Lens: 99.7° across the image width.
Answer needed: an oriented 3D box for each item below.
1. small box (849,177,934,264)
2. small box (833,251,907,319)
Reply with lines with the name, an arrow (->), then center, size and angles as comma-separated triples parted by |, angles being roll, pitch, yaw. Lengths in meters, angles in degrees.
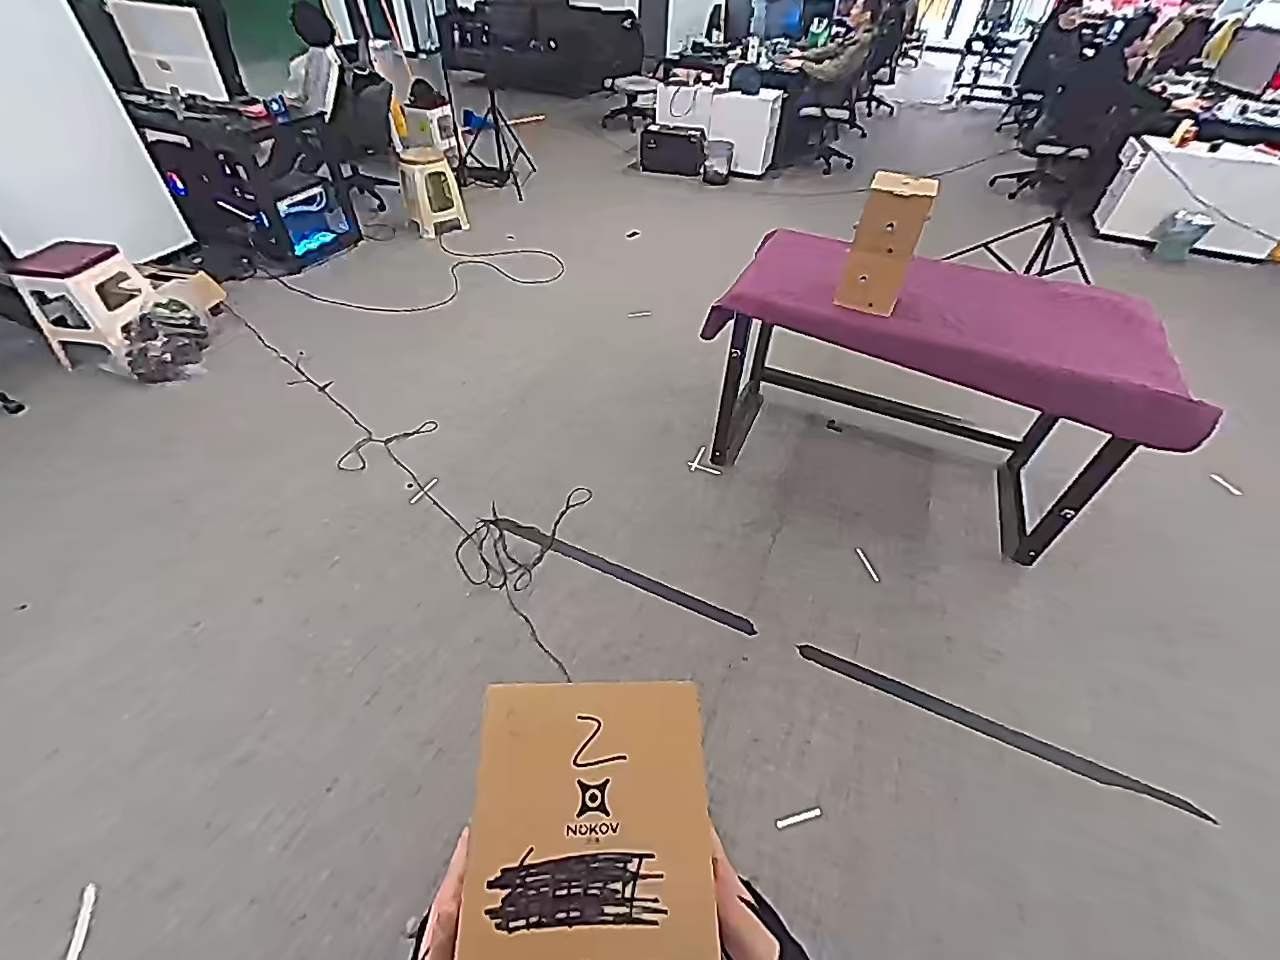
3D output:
small box -> 0.704, -0.728, 1.522 | 0.168, 0.176, 0.179 | 19, 47, 15
small box -> 0.698, -0.608, 1.633 | 0.168, 0.176, 0.179 | 20, 46, 16
